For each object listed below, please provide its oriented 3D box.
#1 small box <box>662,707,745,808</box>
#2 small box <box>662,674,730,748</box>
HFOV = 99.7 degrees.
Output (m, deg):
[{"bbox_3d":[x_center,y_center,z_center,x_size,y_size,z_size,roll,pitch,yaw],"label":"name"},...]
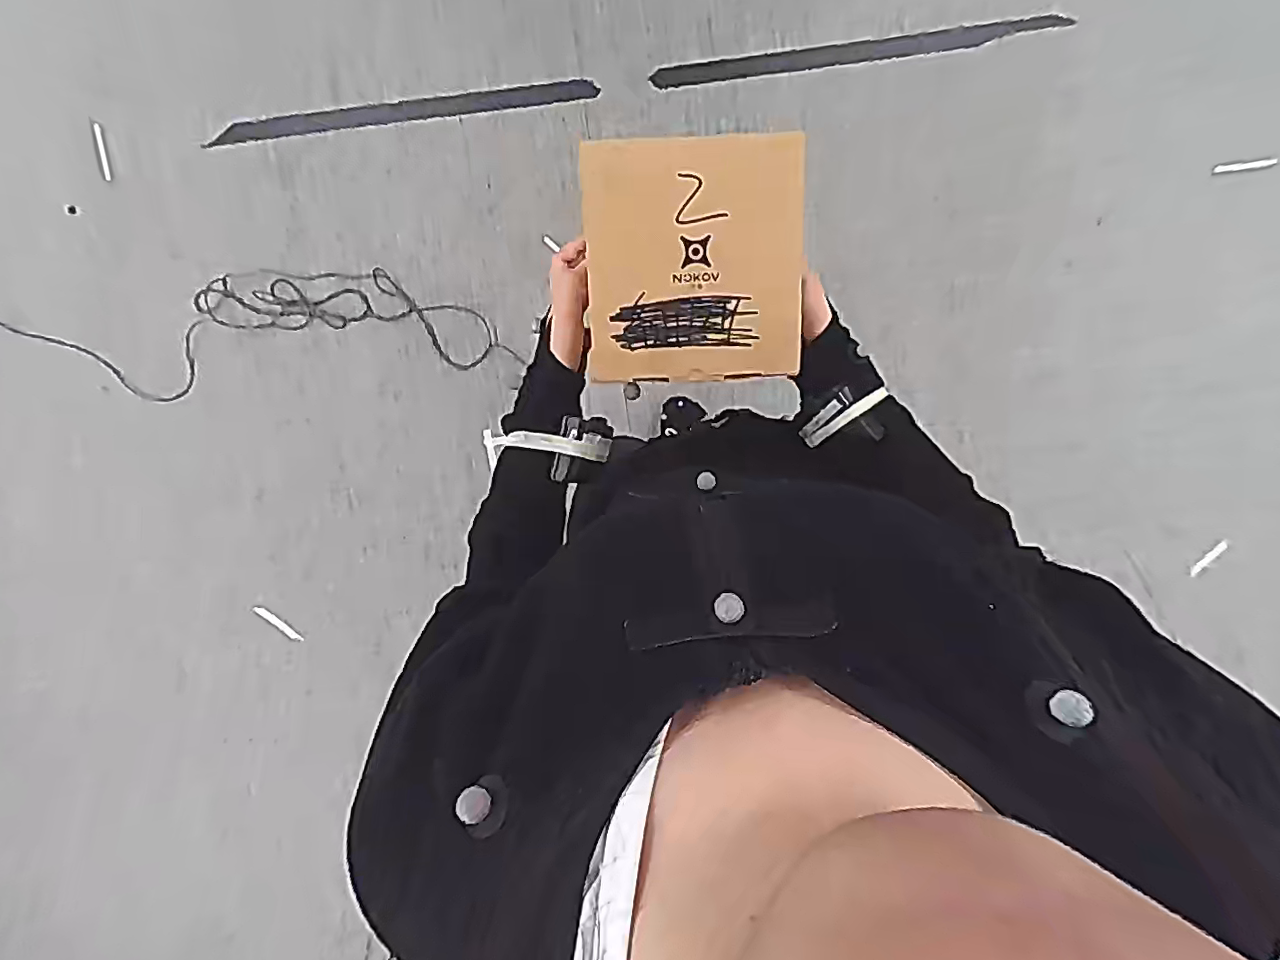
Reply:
[{"bbox_3d":[0.149,0.676,1.324,0.179,0.176,0.168,3,96,0],"label":"small box"},{"bbox_3d":[0.148,0.649,1.486,0.179,0.176,0.168,0,96,0],"label":"small box"}]
